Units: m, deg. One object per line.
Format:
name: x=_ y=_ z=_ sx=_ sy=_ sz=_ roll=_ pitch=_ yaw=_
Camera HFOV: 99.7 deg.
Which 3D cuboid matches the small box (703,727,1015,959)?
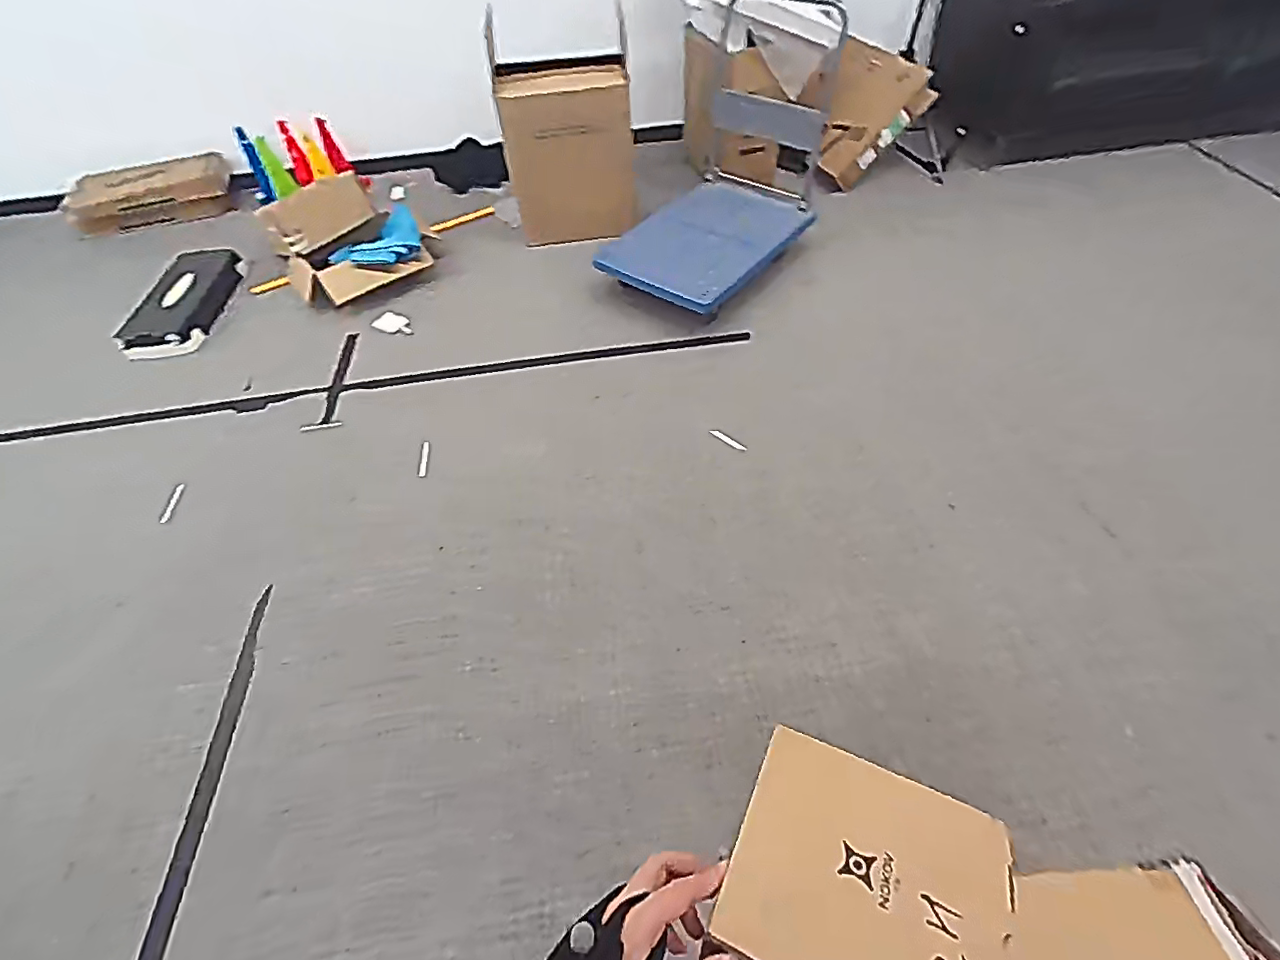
small box: x=0.152 y=0.334 z=0.406 sx=0.179 sy=0.176 sz=0.168 roll=15 pitch=35 yaw=23
